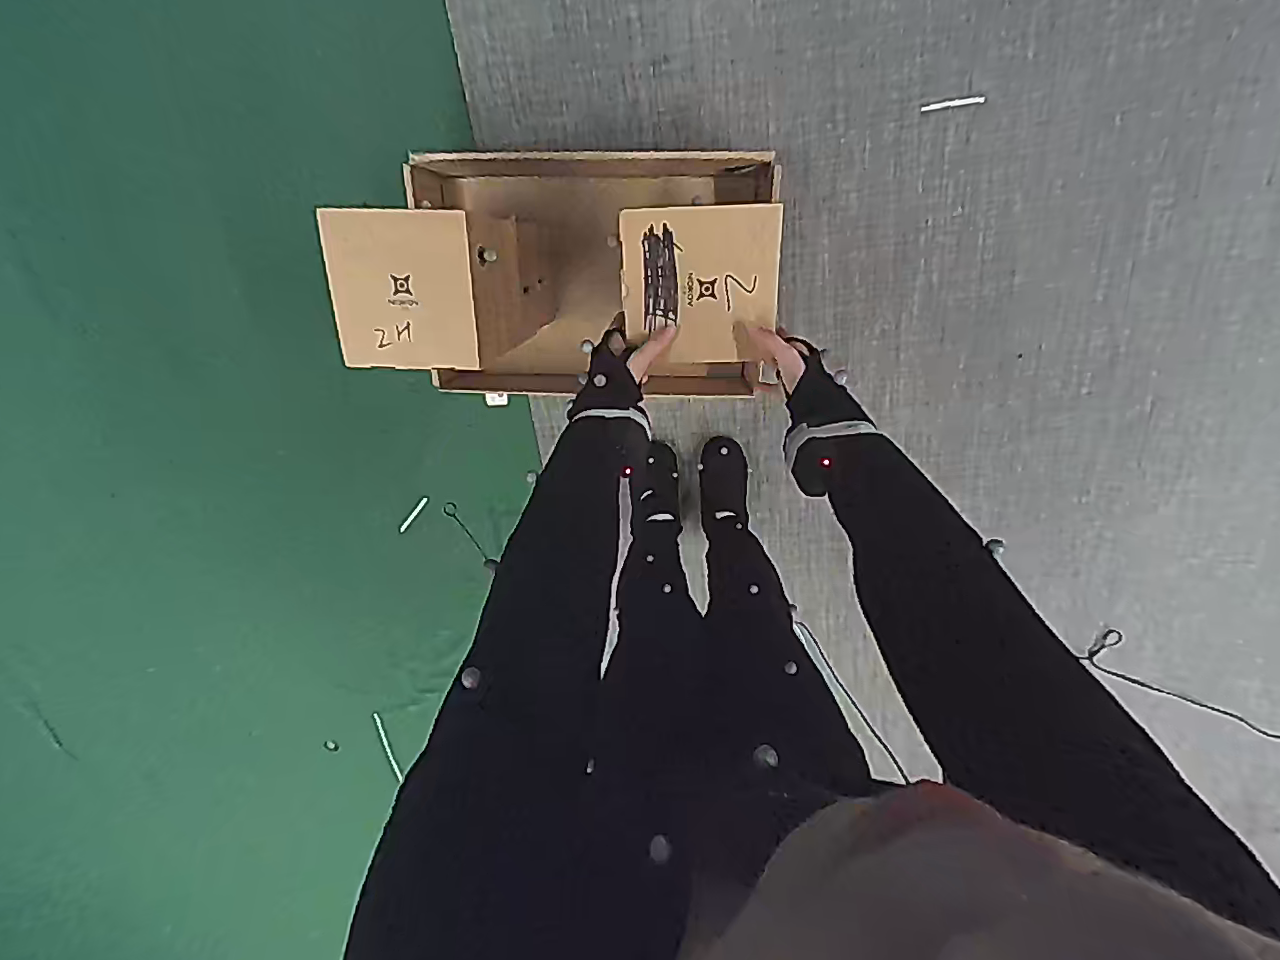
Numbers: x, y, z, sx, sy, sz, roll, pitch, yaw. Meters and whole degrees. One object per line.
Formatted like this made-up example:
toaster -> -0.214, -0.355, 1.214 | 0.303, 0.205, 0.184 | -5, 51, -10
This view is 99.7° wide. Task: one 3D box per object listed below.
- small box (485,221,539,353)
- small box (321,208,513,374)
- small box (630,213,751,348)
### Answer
small box -> -0.256, -0.305, 0.840 | 0.168, 0.176, 0.179 | 4, 114, 0
small box -> -0.266, -0.240, 0.689 | 0.168, 0.176, 0.179 | 2, 113, 1
small box -> 0.070, -0.303, 0.824 | 0.168, 0.176, 0.179 | 1, 113, 3
